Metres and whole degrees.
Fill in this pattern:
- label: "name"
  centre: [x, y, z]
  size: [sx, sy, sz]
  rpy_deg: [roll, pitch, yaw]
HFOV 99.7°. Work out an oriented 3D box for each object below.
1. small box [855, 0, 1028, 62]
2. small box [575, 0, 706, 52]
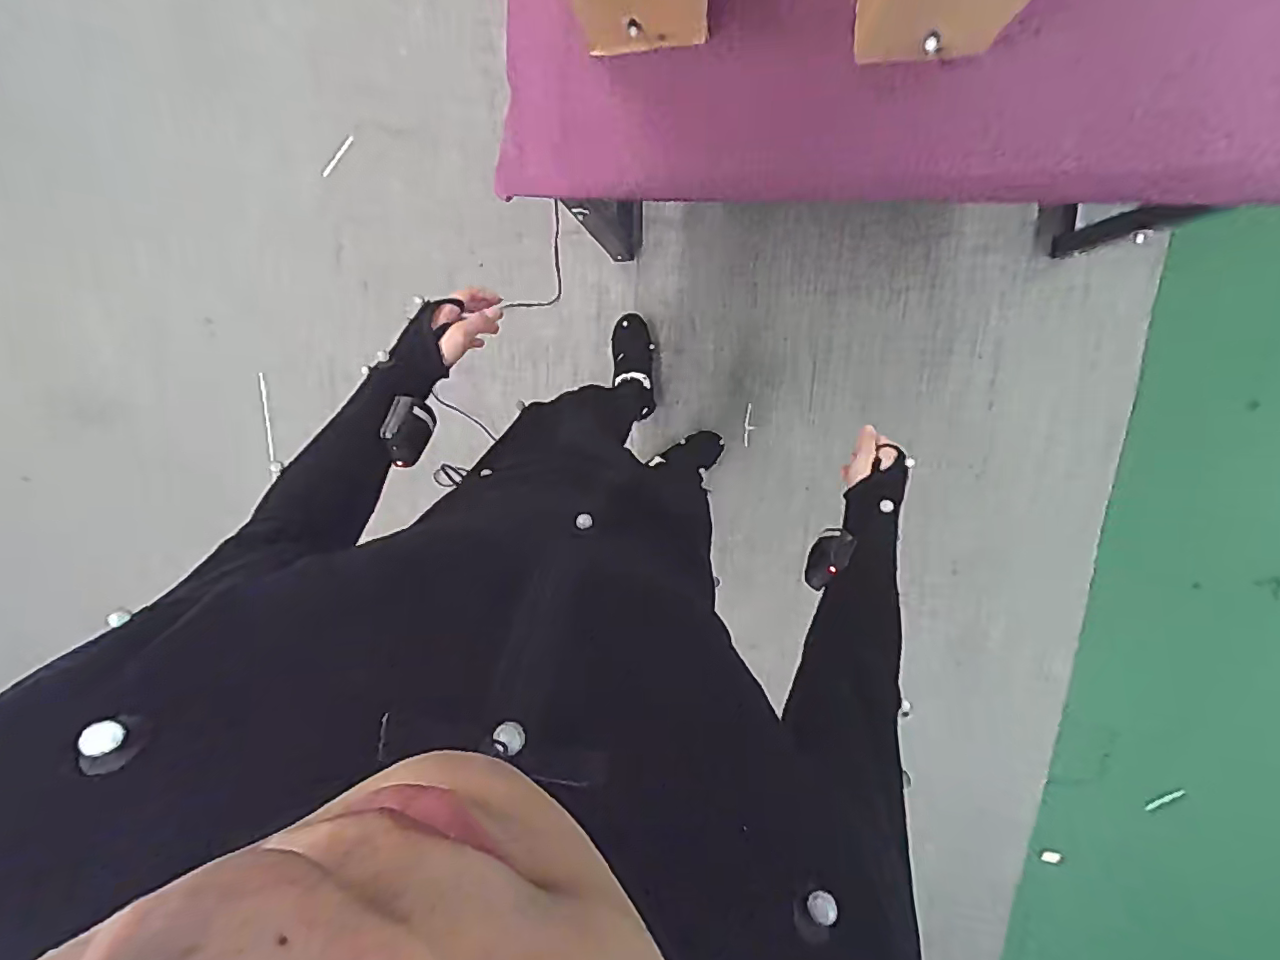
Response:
- label: "small box"
  centre: [0.356, -0.625, 0.620]
  size: [0.168, 0.176, 0.179]
  rpy_deg: [2, 102, 7]
- label: "small box"
  centre: [-0.003, -0.670, 0.655]
  size: [0.168, 0.176, 0.179]
  rpy_deg: [-1, 102, 7]
